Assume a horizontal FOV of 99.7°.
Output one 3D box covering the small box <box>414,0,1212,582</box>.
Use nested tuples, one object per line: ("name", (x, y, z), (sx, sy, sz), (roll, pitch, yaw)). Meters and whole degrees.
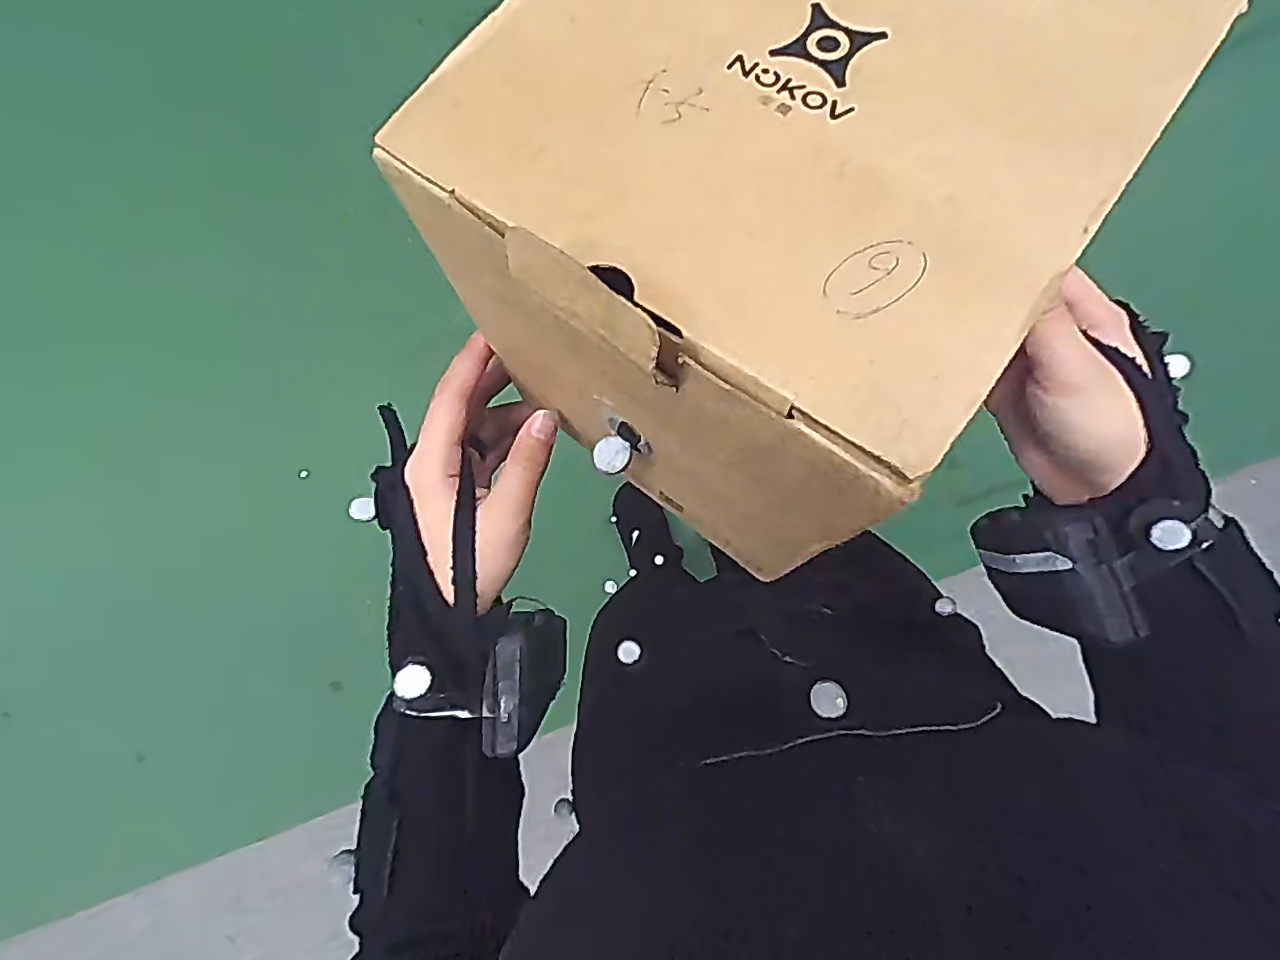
("small box", (0.053, -0.075, 0.232), (0.168, 0.176, 0.179), (36, 79, 13))
